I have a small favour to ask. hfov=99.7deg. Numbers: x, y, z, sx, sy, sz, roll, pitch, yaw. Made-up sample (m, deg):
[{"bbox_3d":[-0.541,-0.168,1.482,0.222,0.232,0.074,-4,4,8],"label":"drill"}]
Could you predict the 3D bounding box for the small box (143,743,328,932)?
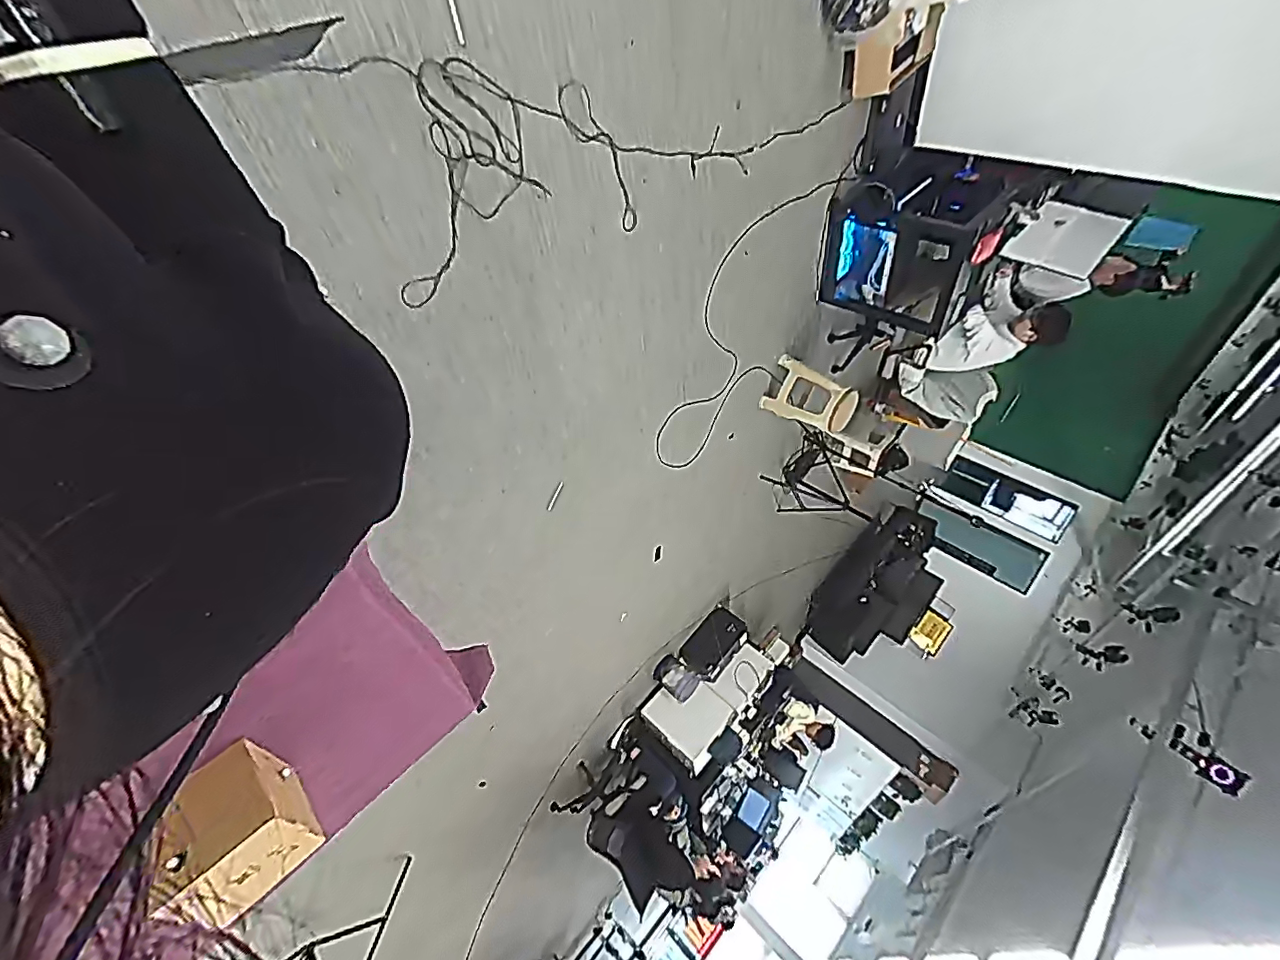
[{"bbox_3d":[-0.664,0.579,0.887,0.179,0.176,0.168,-38,143,-28],"label":"small box"}]
